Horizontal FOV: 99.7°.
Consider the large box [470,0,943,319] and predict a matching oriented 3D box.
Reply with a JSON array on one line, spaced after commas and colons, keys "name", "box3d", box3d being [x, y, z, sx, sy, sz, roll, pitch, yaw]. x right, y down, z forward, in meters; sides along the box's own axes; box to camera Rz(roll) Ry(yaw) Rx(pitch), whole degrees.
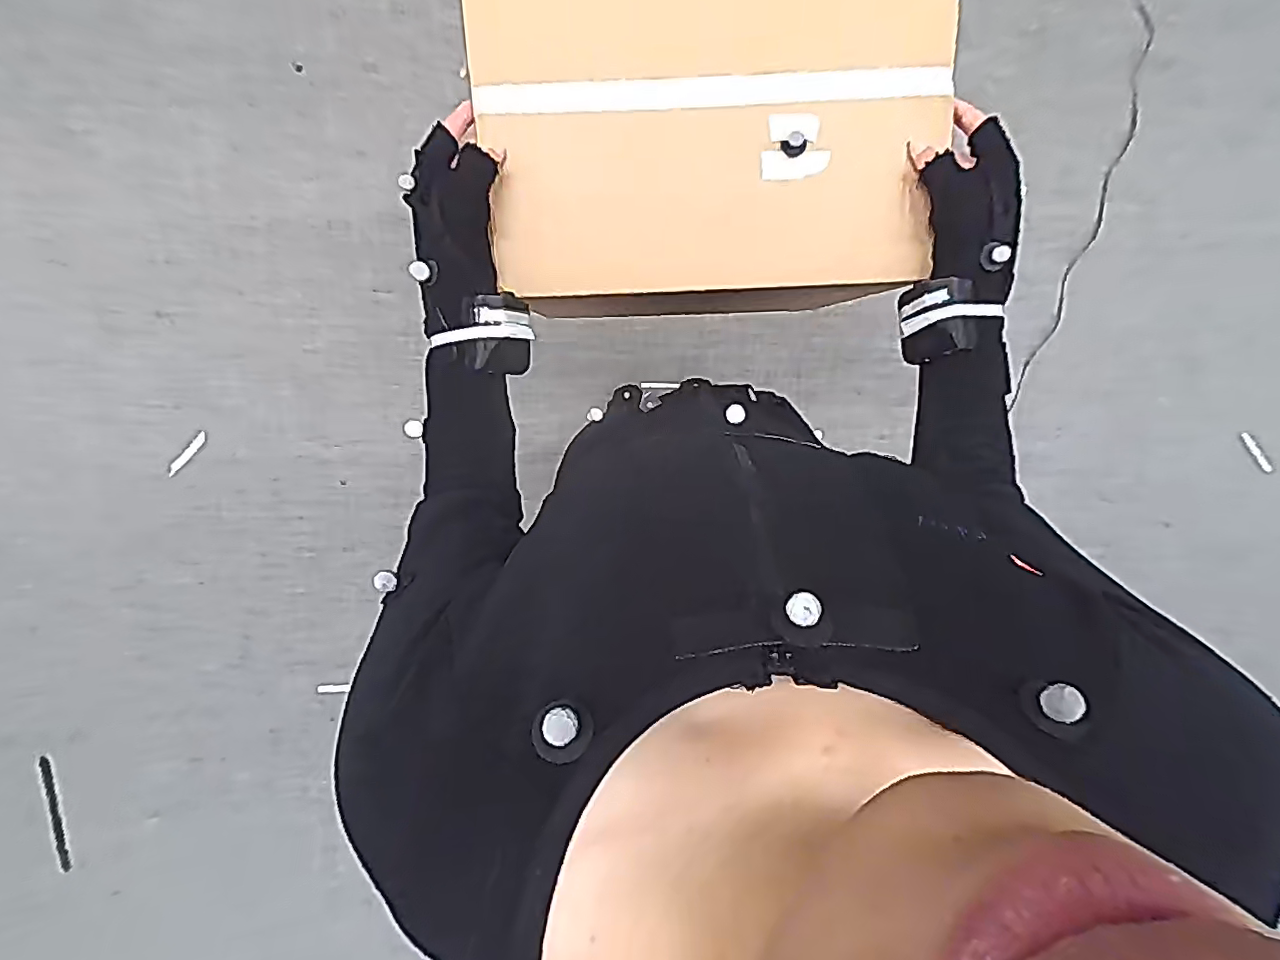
[{"name": "large box", "box3d": [0.055, -0.365, 0.614, 0.408, 0.320, 0.320, -3, 103, -1]}]
